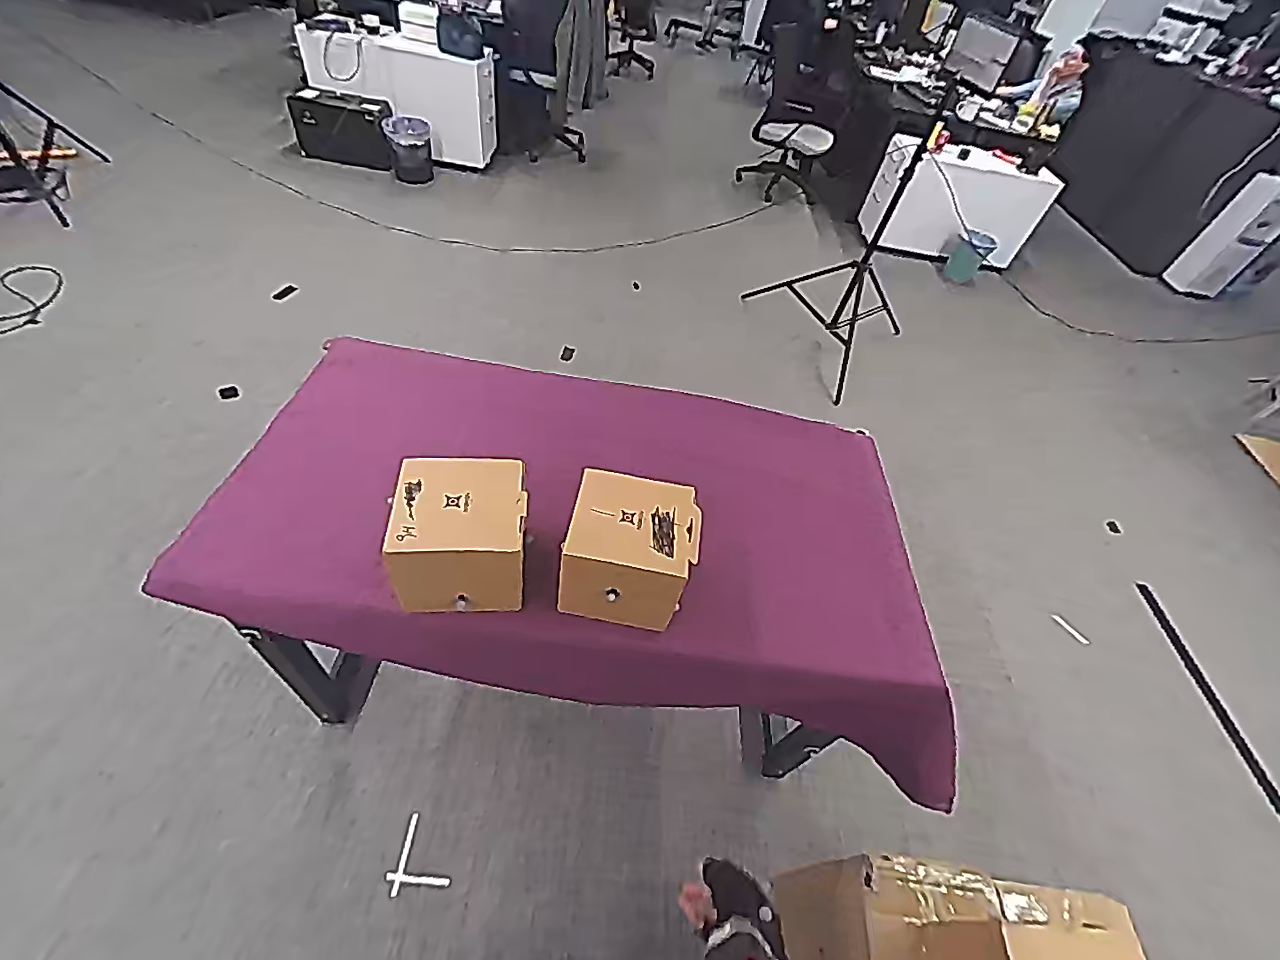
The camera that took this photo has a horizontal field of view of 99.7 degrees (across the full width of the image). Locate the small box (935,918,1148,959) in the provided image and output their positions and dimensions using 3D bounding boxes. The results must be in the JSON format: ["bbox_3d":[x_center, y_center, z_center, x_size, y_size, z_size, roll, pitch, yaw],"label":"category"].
[{"bbox_3d":[0.483,0.632,0.631,0.168,0.176,0.179,6,50,-3],"label":"small box"}]

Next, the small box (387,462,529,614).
[{"bbox_3d":[-0.263,0.091,0.819,0.179,0.176,0.168,2,48,-12],"label":"small box"}]

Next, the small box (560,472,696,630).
[{"bbox_3d":[-0.021,0.115,0.847,0.179,0.176,0.168,11,47,-1],"label":"small box"}]
